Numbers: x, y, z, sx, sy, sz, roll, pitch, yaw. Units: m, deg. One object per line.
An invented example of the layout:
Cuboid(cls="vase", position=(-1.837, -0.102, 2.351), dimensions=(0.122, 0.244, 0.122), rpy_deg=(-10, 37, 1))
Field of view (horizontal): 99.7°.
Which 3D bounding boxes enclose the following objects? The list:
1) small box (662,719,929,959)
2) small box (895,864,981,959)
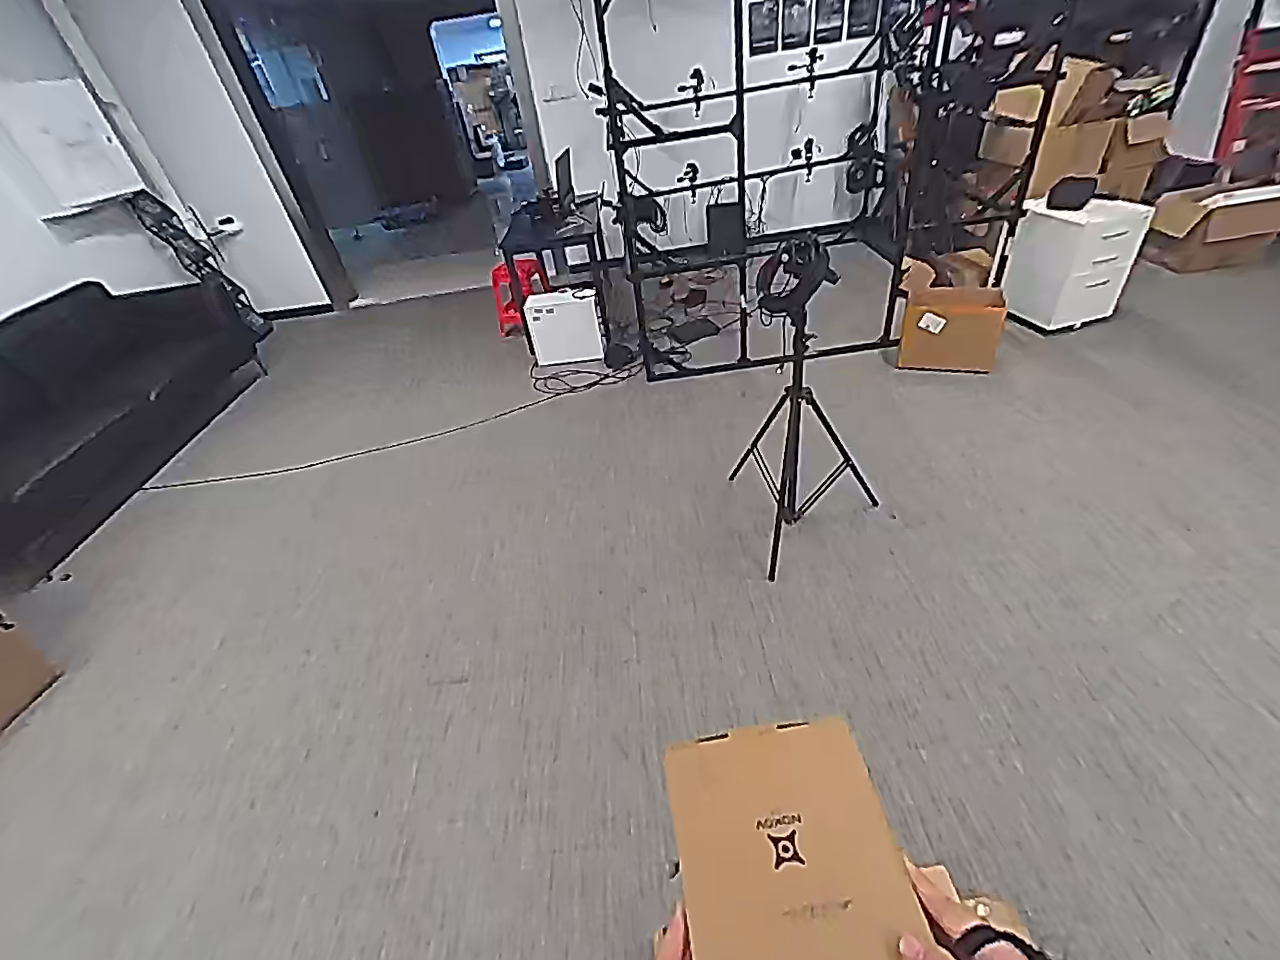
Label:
Cuboid(cls="small box", position=(0.112, 0.340, 0.473), dimensions=(0.168, 0.176, 0.179), rpy_deg=(-8, 42, -1))
Cuboid(cls="small box", position=(0.430, 0.761, 0.875), dimensions=(0.168, 0.176, 0.179), rpy_deg=(-8, 37, 2))
